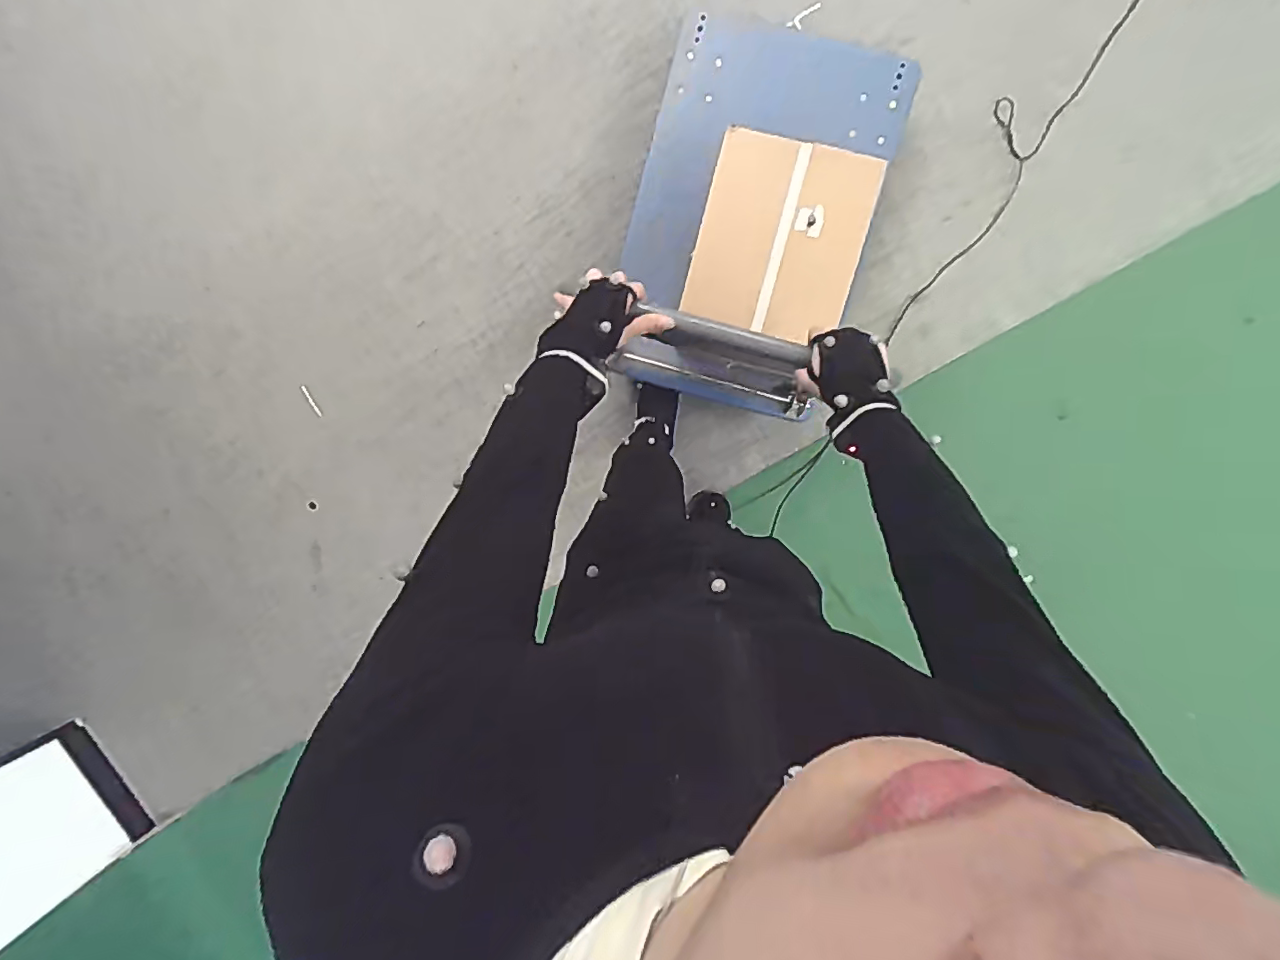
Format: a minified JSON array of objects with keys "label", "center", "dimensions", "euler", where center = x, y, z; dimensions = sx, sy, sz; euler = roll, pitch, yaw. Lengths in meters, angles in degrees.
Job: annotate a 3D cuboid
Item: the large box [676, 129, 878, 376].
[{"label":"large box","center":[0.278,-0.474,1.217],"dimensions":[0.320,0.320,0.408],"euler":[15,98,3]}]
